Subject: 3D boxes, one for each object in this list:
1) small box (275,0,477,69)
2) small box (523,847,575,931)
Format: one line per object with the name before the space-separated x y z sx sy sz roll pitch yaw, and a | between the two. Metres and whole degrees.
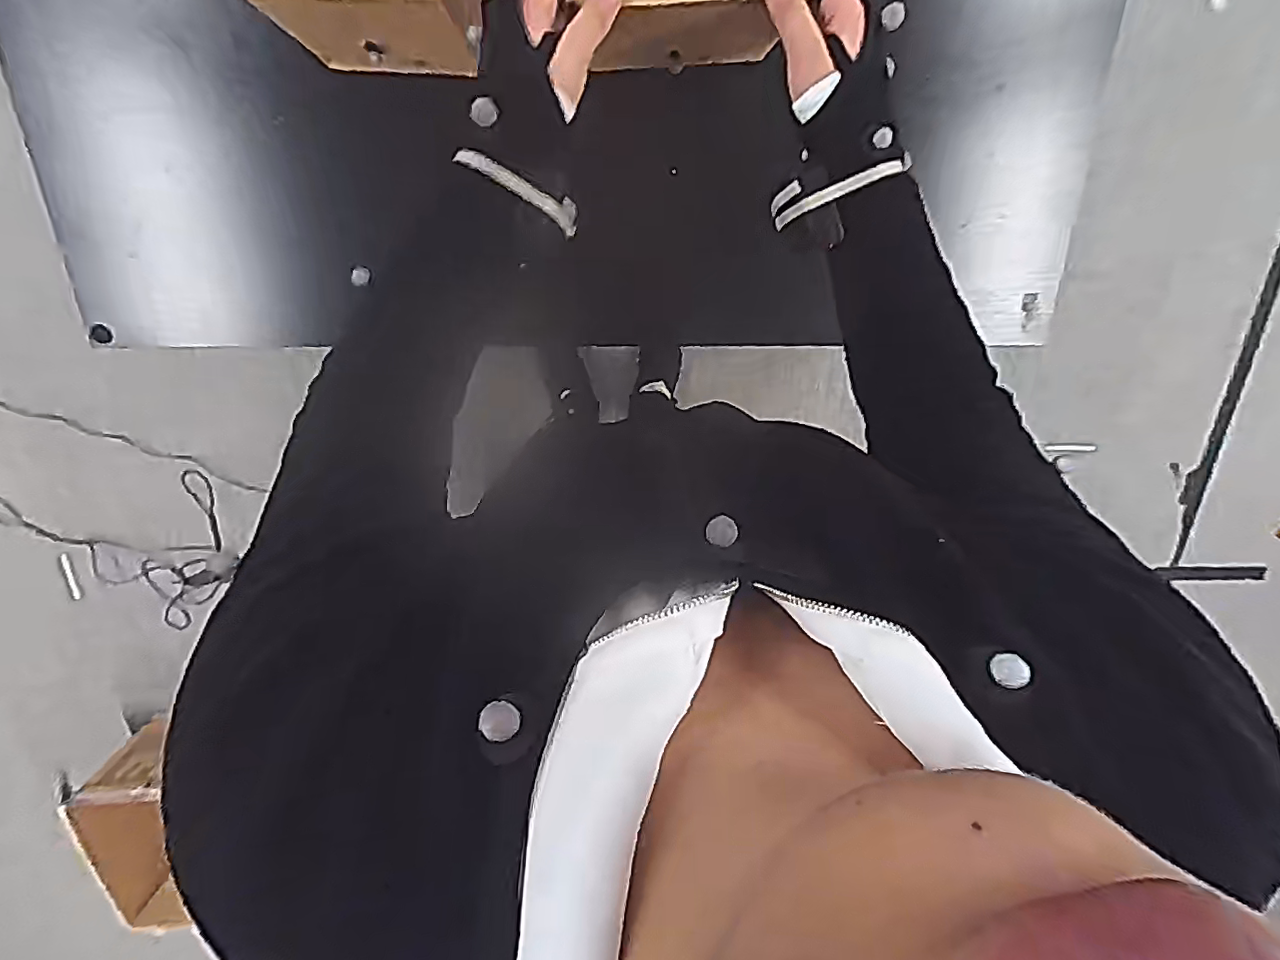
small box | -0.248 -0.504 0.478 0.168 0.176 0.179 0 110 -4
small box | -0.312 1.411 1.876 0.168 0.176 0.179 3 107 -6
